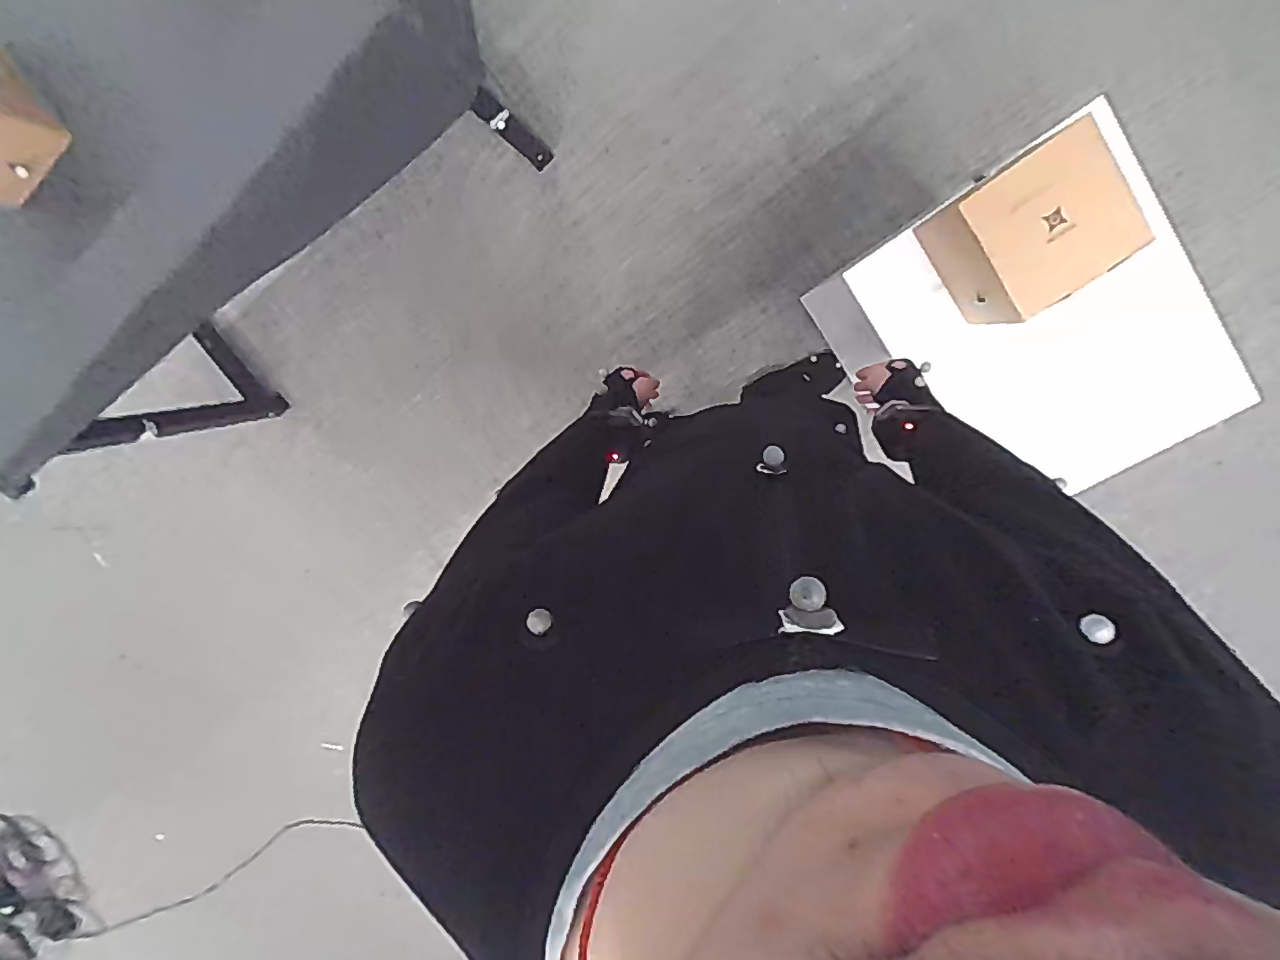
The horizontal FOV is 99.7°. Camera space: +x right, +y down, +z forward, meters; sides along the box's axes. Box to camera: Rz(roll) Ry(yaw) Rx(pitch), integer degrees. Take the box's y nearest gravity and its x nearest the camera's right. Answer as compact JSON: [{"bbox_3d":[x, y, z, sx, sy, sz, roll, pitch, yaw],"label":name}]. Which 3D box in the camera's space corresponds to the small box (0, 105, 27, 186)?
[{"bbox_3d":[-1.017,-0.499,0.733,0.179,0.176,0.168,-34,97,13],"label":"small box"}]

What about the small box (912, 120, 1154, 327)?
[{"bbox_3d":[0.512,-0.327,0.732,0.168,0.176,0.179,-36,97,12],"label":"small box"}]
